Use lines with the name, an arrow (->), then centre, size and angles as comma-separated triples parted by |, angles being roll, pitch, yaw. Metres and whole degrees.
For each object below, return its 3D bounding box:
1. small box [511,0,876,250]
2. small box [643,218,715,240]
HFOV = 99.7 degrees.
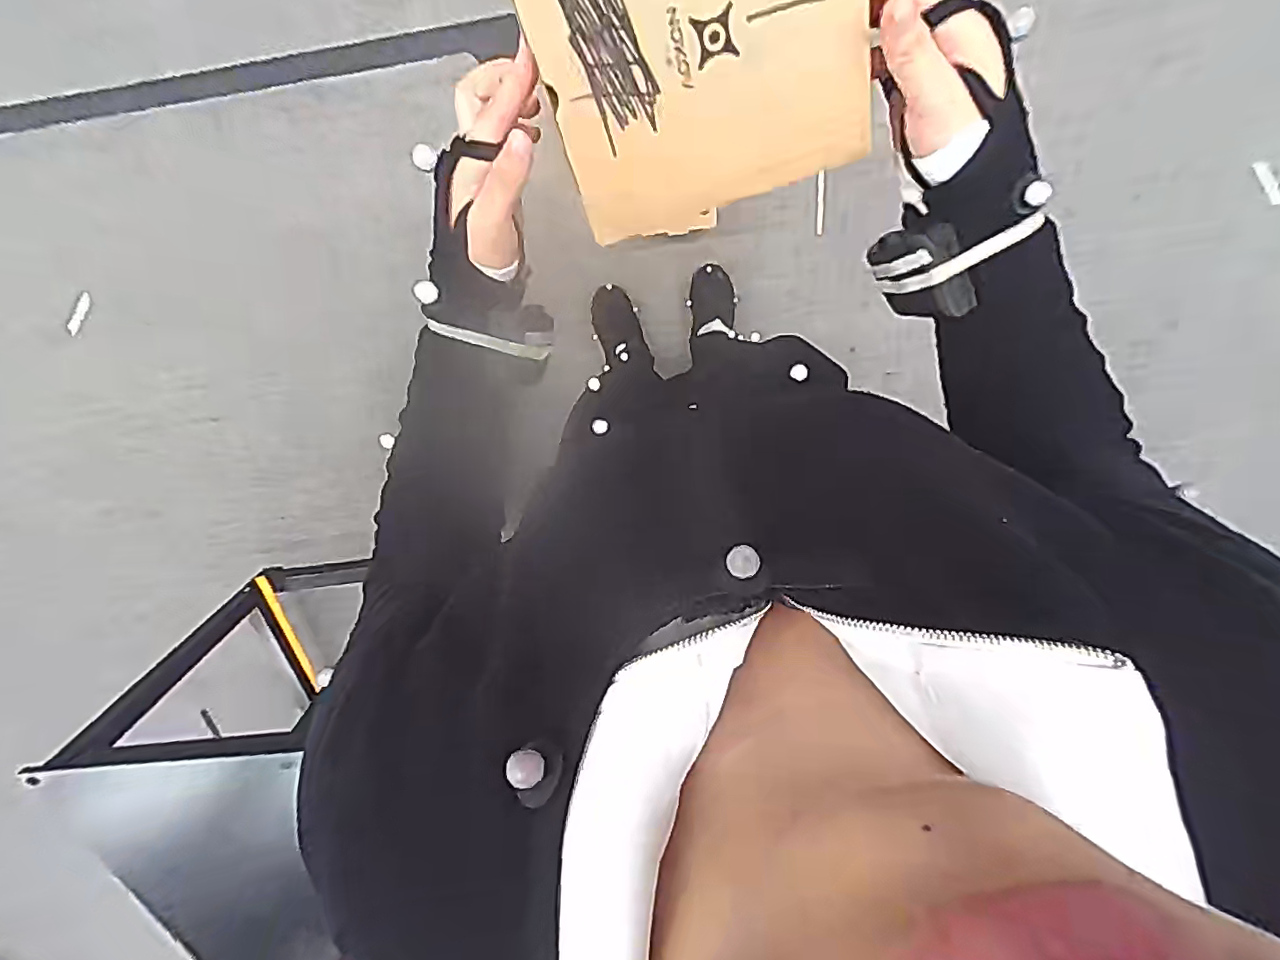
small box -> 0.031, -0.275, 0.338 | 0.179, 0.176, 0.168 | -13, 132, 10
small box -> 0.074, -0.633, 1.183 | 0.168, 0.176, 0.179 | -5, 117, 3
